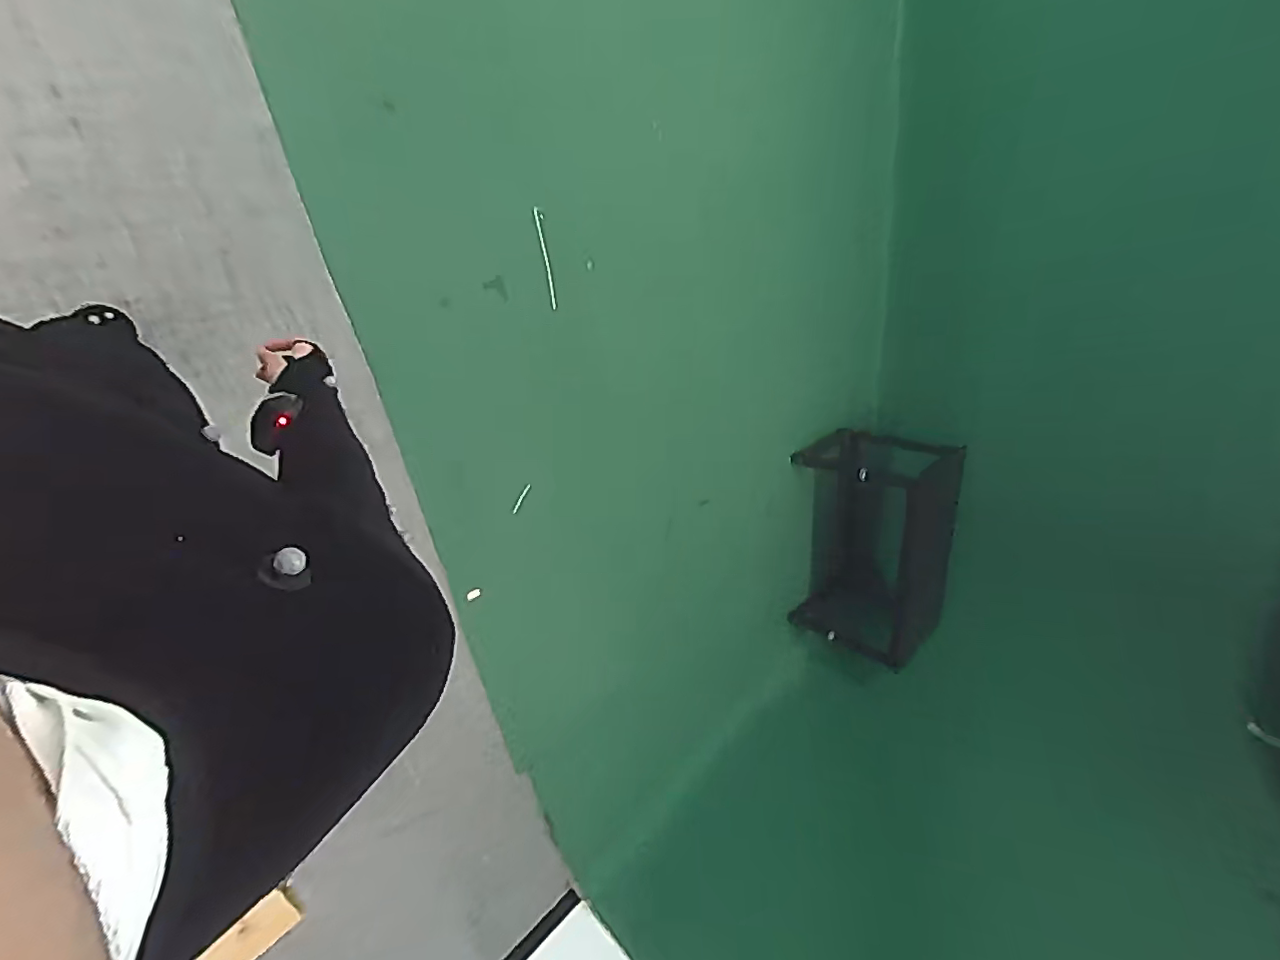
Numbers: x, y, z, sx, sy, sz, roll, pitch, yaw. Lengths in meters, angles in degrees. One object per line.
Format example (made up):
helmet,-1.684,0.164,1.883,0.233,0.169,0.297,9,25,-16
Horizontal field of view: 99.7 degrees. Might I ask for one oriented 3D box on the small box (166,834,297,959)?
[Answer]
small box,-0.899,0.928,1.189,0.168,0.176,0.179,-32,125,-33
